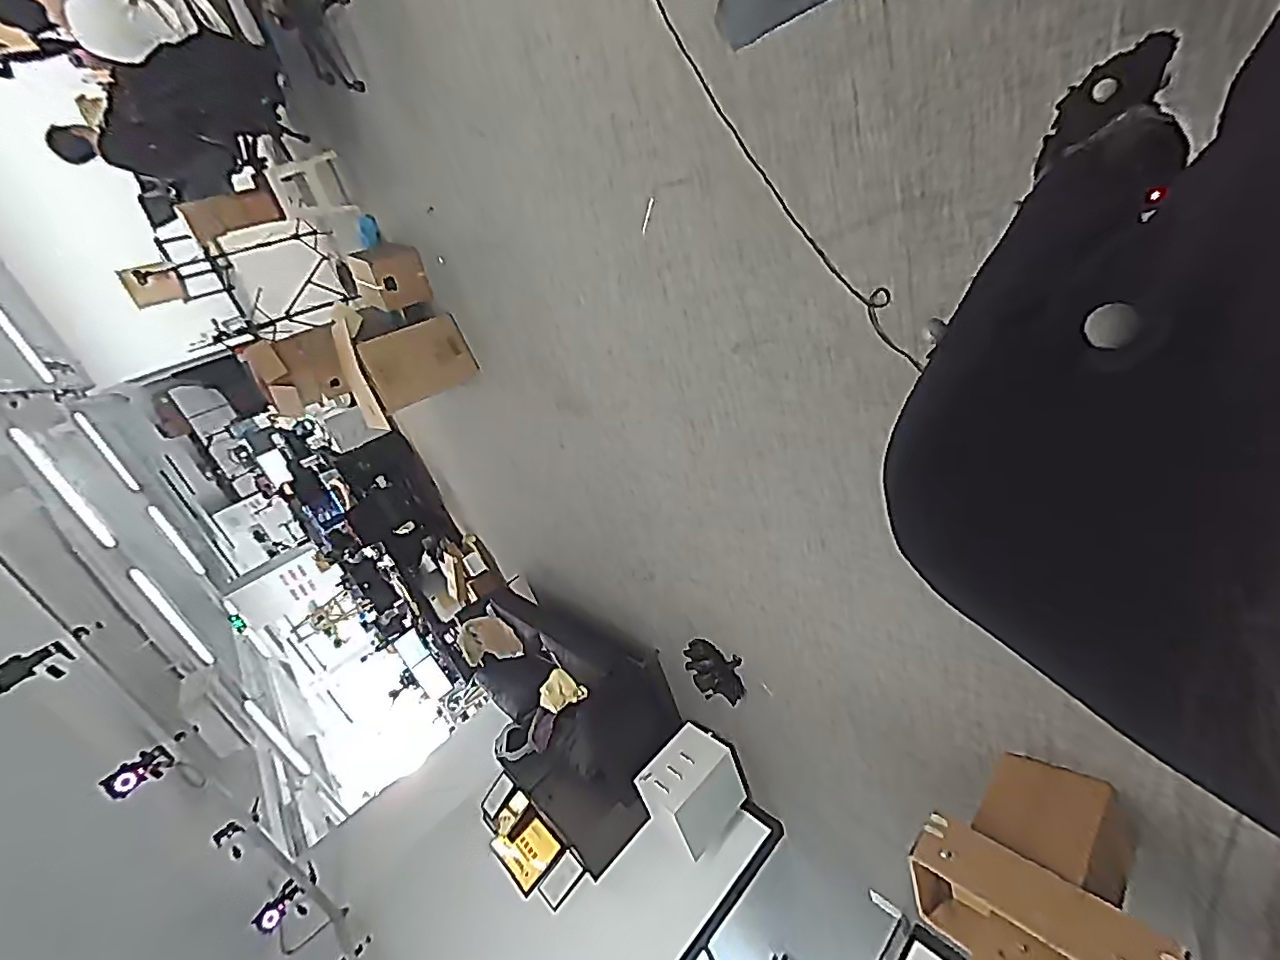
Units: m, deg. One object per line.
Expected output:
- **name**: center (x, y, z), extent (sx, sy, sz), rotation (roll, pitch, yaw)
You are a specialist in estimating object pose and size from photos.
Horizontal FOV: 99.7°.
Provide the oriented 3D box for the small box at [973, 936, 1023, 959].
- **small box**: center (1.020, 1.435, 1.491), extent (0.168, 0.176, 0.179), rotation (4, 122, 52)
